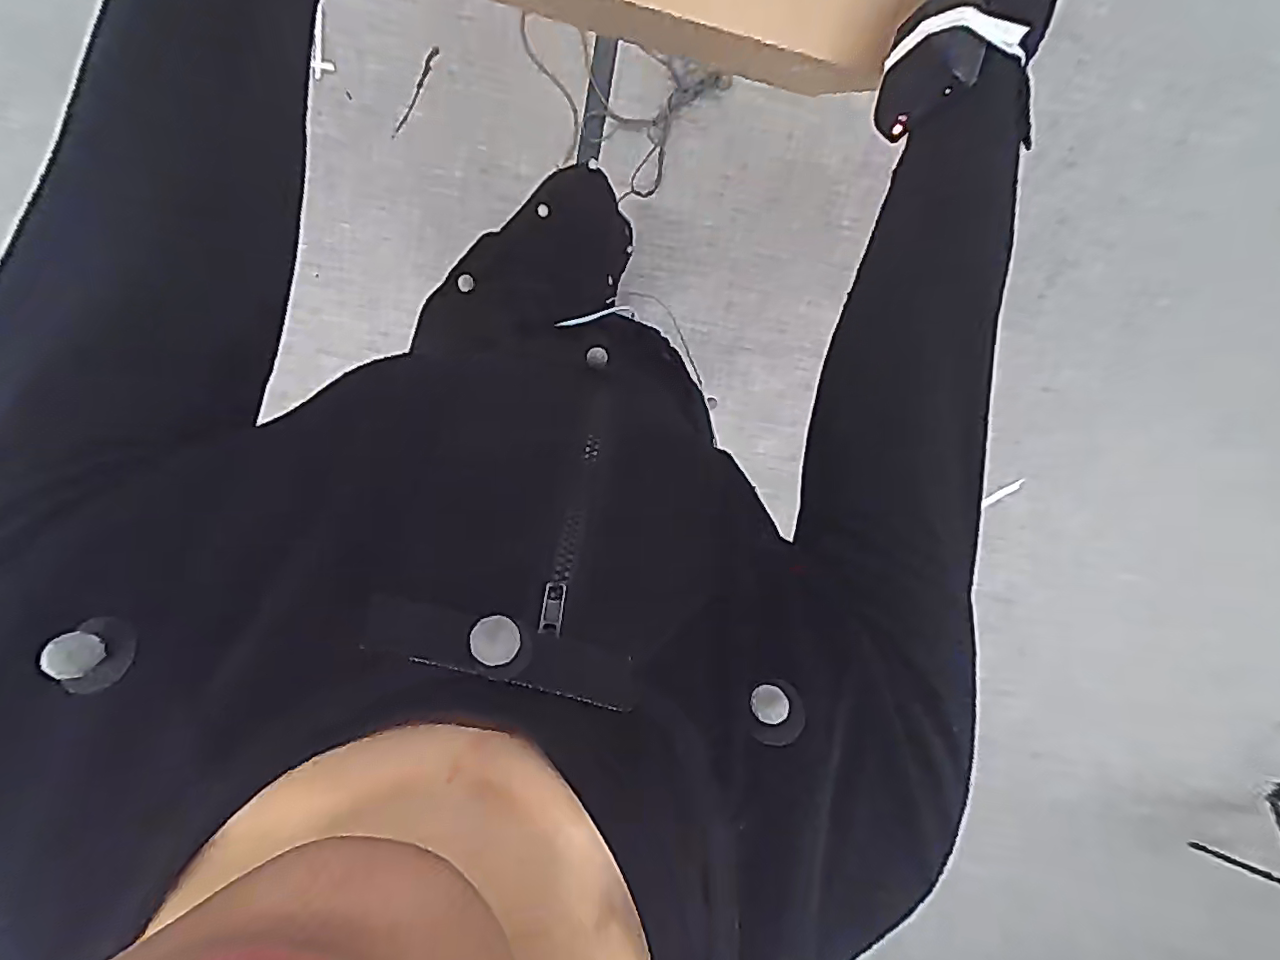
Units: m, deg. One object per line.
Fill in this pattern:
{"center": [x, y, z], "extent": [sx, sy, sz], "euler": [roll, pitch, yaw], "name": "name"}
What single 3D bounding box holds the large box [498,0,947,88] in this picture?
{"center": [0.052, -0.551, 0.430], "extent": [0.408, 0.320, 0.320], "euler": [11, 125, -7], "name": "large box"}
